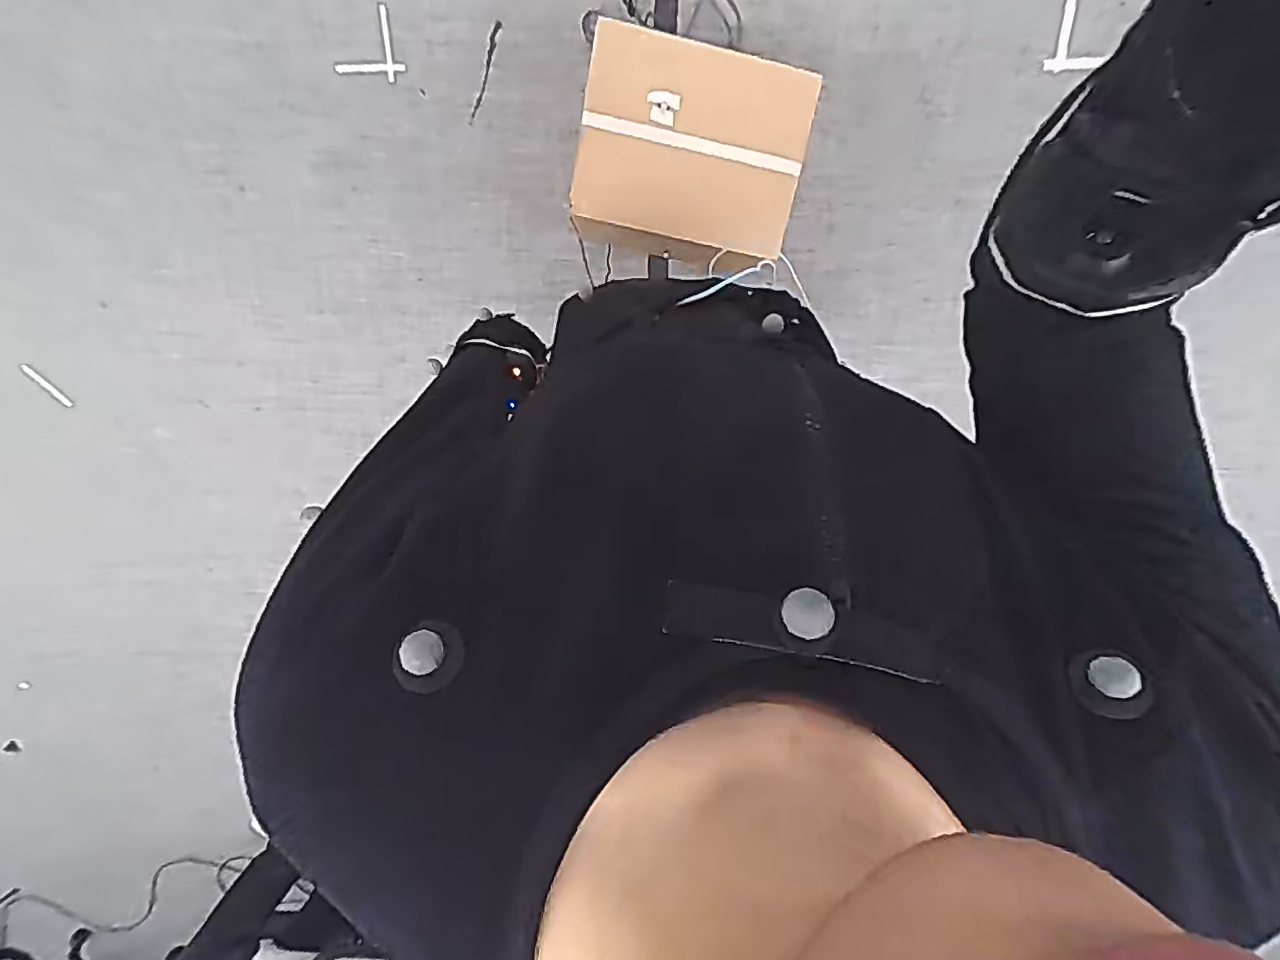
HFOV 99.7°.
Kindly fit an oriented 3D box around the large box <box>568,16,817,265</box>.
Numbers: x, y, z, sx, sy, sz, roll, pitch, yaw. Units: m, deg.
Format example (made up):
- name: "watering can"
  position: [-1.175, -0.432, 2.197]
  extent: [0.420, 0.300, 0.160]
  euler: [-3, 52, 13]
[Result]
- name: "large box"
  position: [0.086, -0.652, 1.114]
  extent: [0.408, 0.320, 0.320]
  euler: [11, 105, -5]
